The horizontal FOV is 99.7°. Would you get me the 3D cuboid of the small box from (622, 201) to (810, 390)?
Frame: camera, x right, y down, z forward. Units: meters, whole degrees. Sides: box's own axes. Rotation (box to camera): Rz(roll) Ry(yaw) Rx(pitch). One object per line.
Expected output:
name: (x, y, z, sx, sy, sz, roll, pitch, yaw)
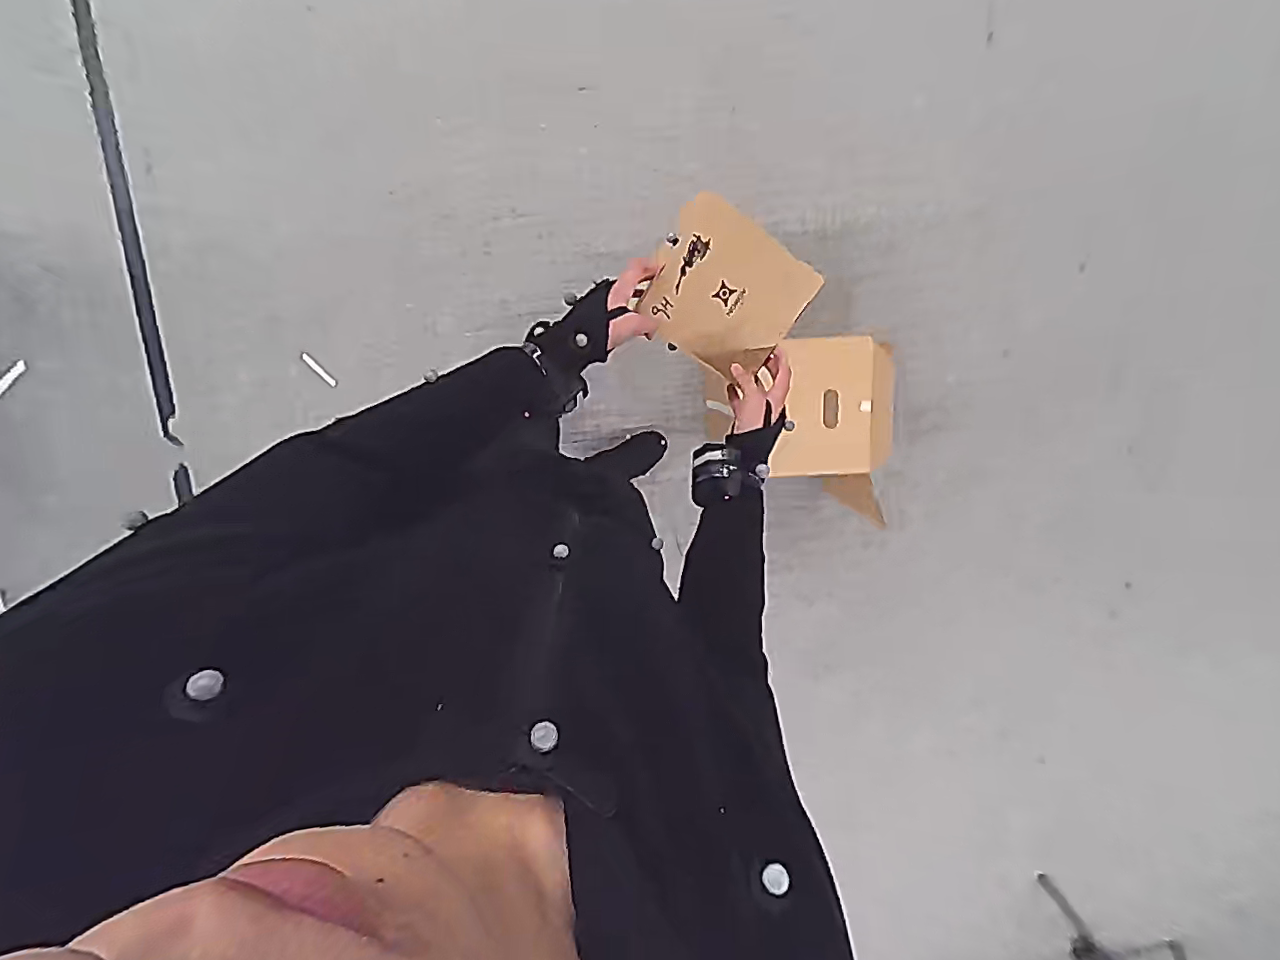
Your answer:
small box: (0.091, -0.255, 0.740, 0.179, 0.176, 0.168, 30, 109, -16)
